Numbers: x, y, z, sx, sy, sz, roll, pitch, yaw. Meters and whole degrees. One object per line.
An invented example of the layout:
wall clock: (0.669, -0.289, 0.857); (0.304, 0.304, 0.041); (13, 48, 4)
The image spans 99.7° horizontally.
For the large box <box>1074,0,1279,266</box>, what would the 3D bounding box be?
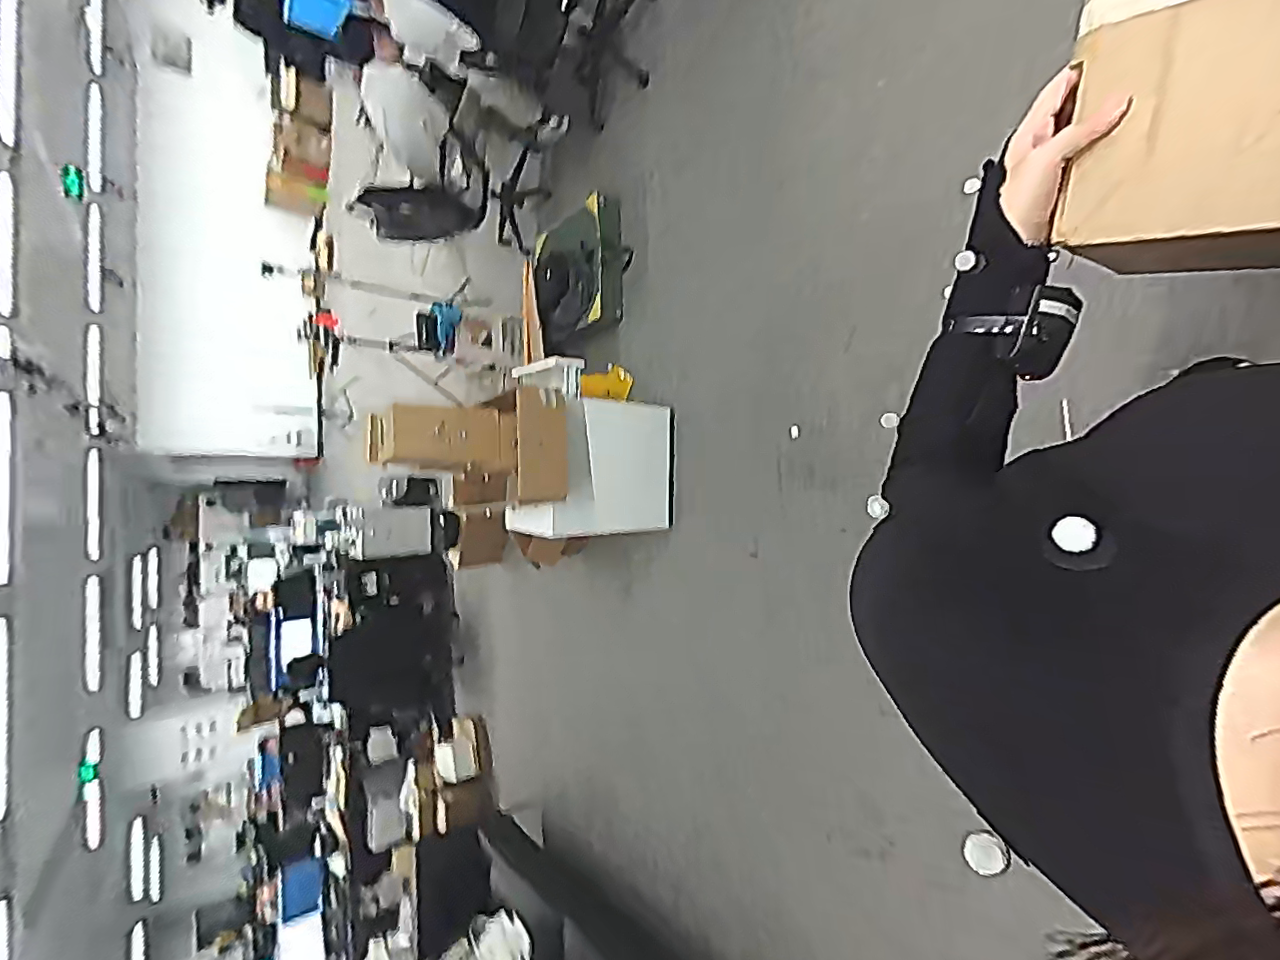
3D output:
large box: (0.582, -0.329, 0.345); (0.408, 0.320, 0.320); (17, 113, 44)
